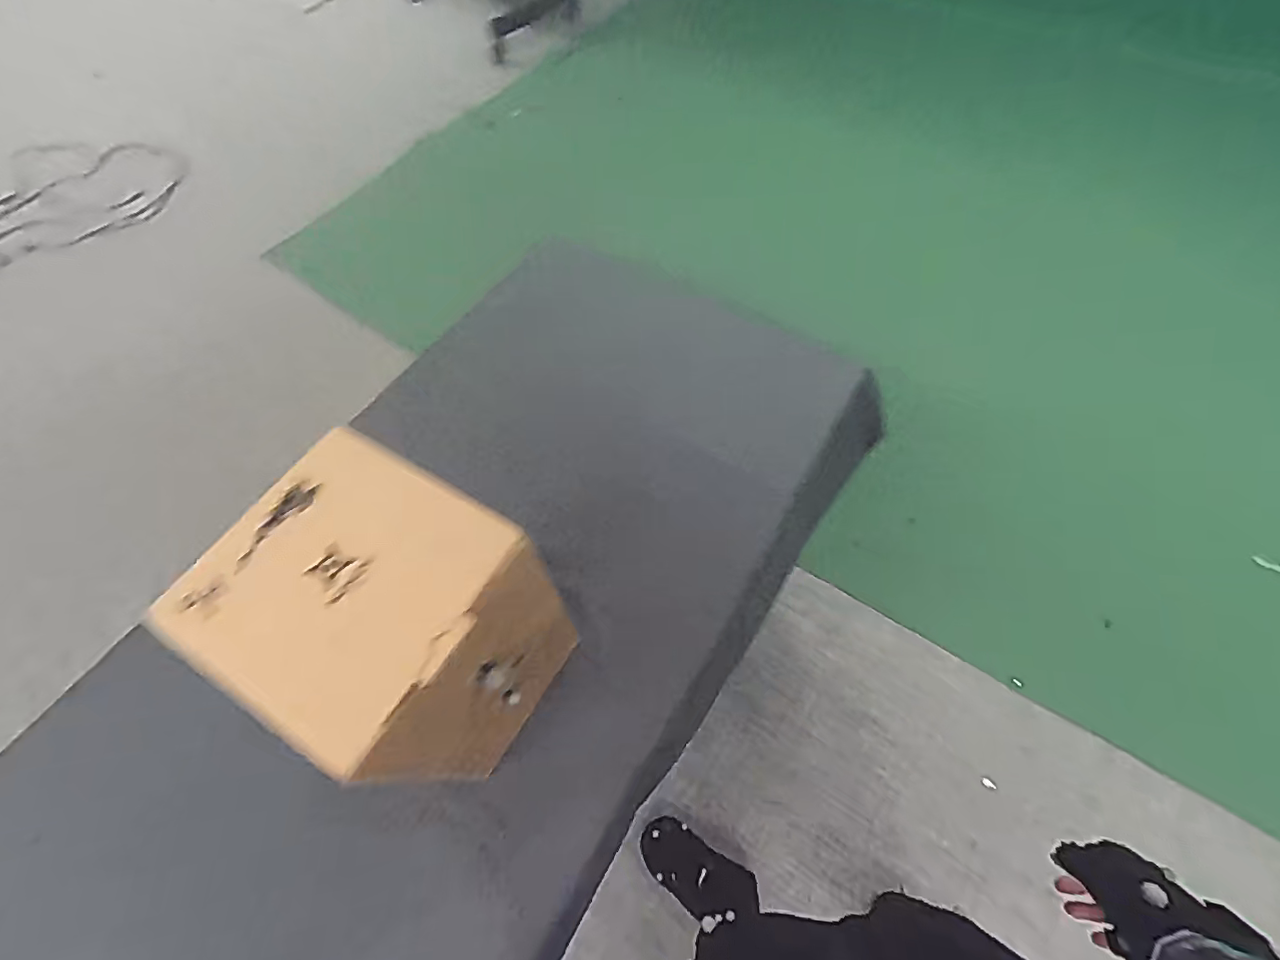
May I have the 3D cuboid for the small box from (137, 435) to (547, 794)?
[{"bbox_3d":[-0.191,0.103,0.409,0.179,0.176,0.168,28,66,14],"label":"small box"}]

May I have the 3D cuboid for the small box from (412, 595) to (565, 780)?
[{"bbox_3d":[-0.193,0.179,0.555,0.168,0.176,0.179,28,65,15],"label":"small box"}]
